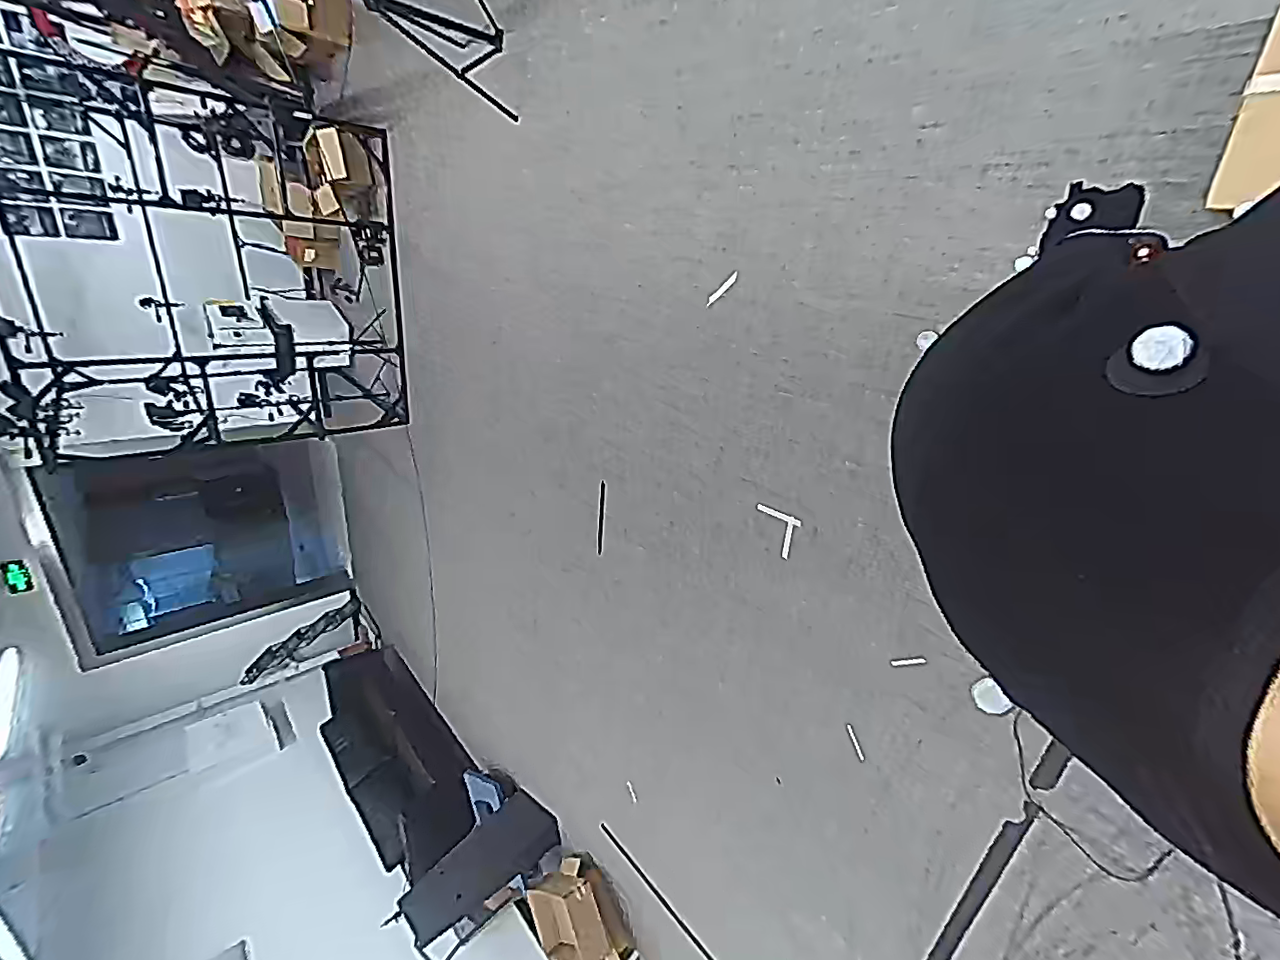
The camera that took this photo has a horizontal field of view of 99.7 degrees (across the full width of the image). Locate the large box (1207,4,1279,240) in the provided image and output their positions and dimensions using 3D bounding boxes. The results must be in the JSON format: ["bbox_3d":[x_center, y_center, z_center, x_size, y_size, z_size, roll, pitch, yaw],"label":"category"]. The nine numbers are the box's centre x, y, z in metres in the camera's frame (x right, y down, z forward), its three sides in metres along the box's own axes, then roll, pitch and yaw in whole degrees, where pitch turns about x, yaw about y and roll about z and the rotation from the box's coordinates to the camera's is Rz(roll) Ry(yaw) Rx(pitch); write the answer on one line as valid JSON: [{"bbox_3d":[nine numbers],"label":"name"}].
[{"bbox_3d":[1.095,-0.510,0.724,0.408,0.320,0.320,23,118,42],"label":"large box"}]
